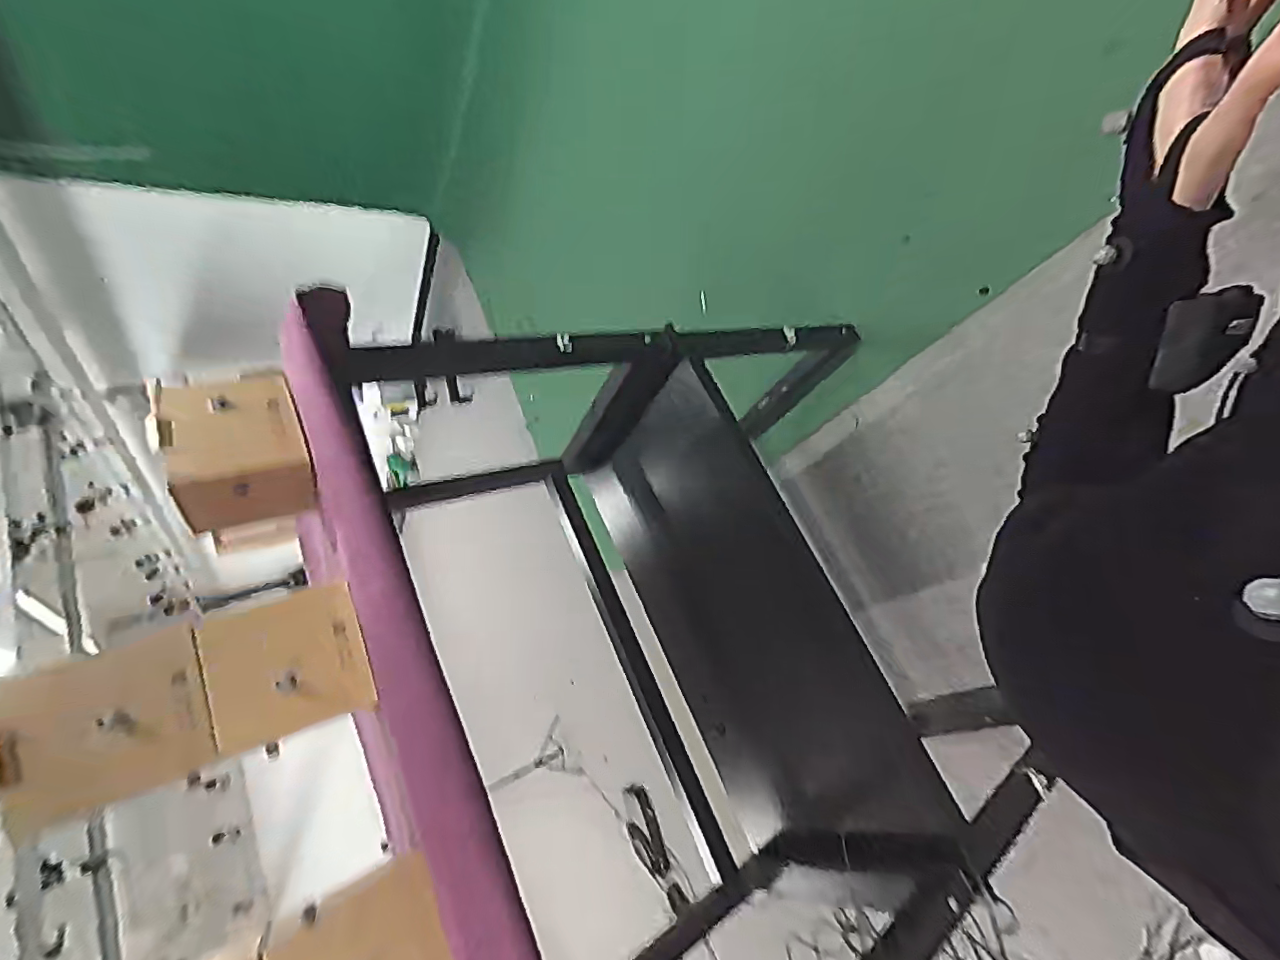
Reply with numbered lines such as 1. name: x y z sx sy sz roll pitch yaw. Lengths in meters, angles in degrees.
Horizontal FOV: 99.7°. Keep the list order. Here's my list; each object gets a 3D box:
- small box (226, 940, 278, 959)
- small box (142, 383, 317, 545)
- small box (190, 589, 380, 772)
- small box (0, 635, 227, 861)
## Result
1. small box: -0.443 0.610 0.530 0.168 0.176 0.179 -44 67 51
2. small box: -0.609 -0.028 0.822 0.168 0.176 0.179 62 145 18
3. small box: -0.457 0.260 0.717 0.179 0.176 0.168 -41 68 54
4. small box: -0.590 0.294 0.628 0.179 0.176 0.168 -39 70 53
